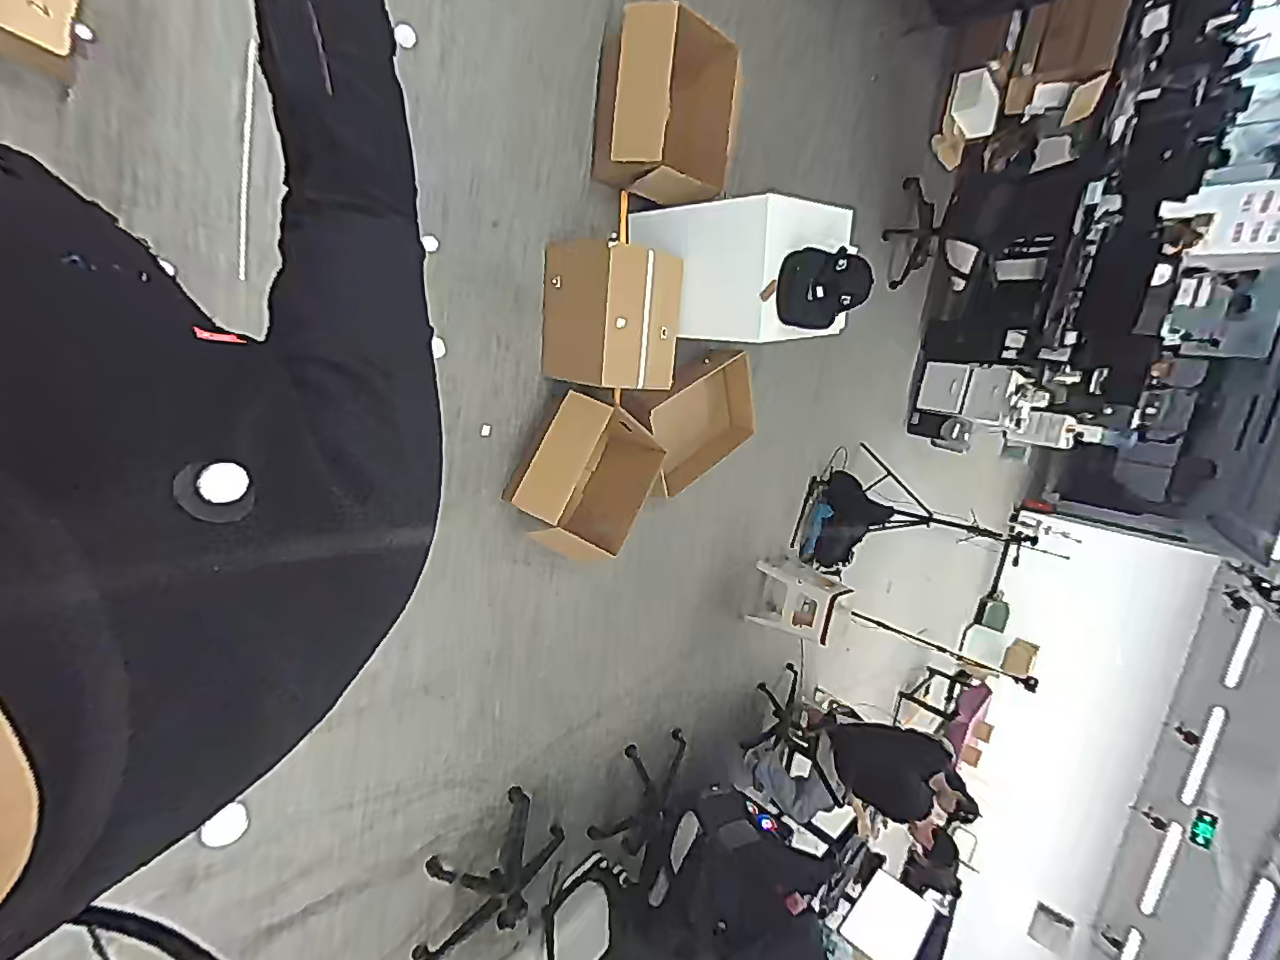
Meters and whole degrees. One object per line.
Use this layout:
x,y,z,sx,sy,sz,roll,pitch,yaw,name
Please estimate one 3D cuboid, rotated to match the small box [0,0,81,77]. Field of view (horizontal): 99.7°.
-0.984,-0.760,0.820,0.179,0.176,0.168,9,97,-48,small box
